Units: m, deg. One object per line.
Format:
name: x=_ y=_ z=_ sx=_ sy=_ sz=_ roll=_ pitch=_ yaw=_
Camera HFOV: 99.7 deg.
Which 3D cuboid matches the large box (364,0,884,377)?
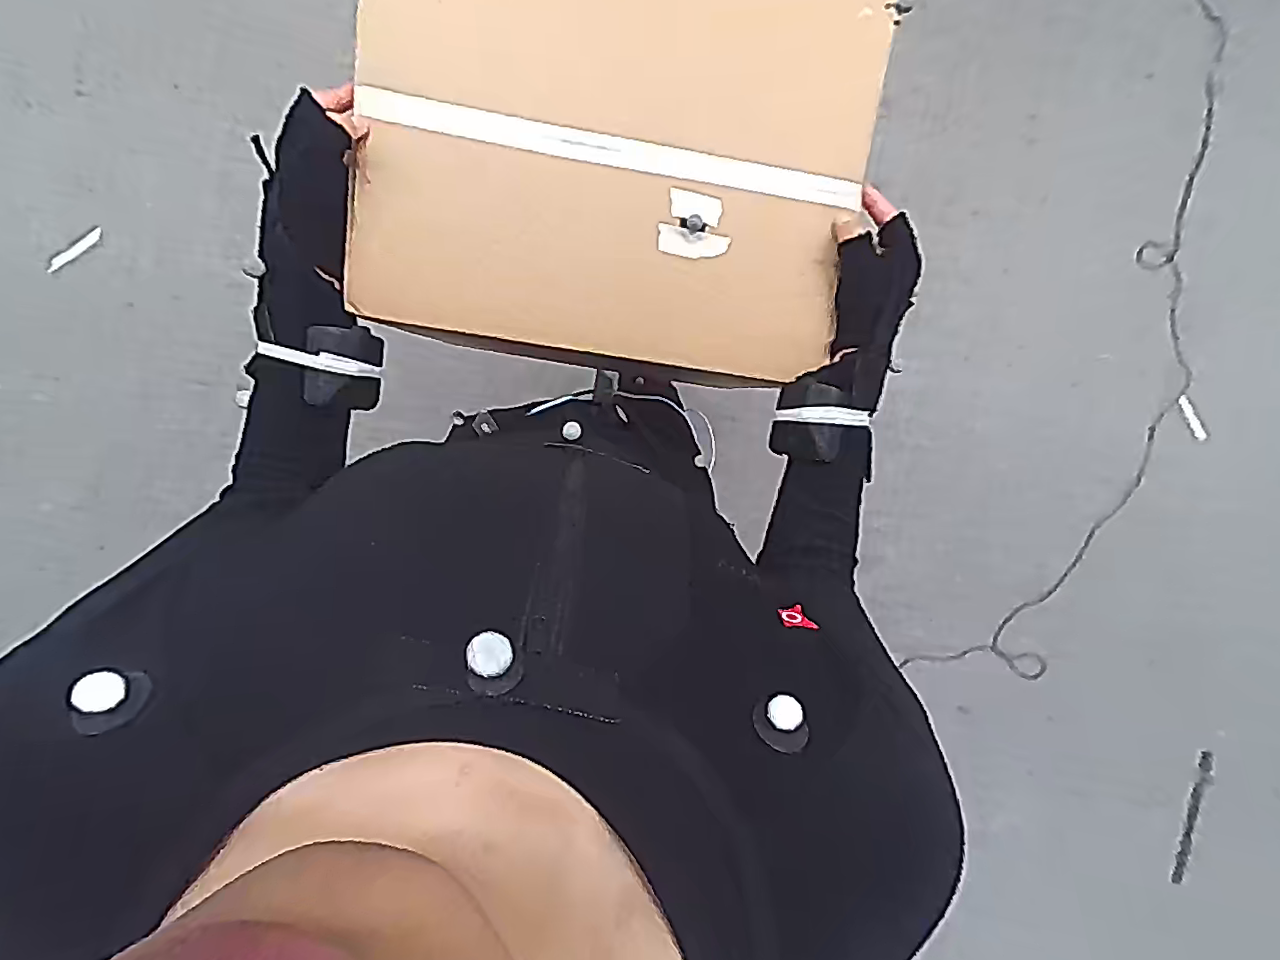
large box: x=-0.030 y=-0.294 z=0.587 sx=0.408 sy=0.320 sz=0.320 roll=7 pitch=100 yaw=-7
